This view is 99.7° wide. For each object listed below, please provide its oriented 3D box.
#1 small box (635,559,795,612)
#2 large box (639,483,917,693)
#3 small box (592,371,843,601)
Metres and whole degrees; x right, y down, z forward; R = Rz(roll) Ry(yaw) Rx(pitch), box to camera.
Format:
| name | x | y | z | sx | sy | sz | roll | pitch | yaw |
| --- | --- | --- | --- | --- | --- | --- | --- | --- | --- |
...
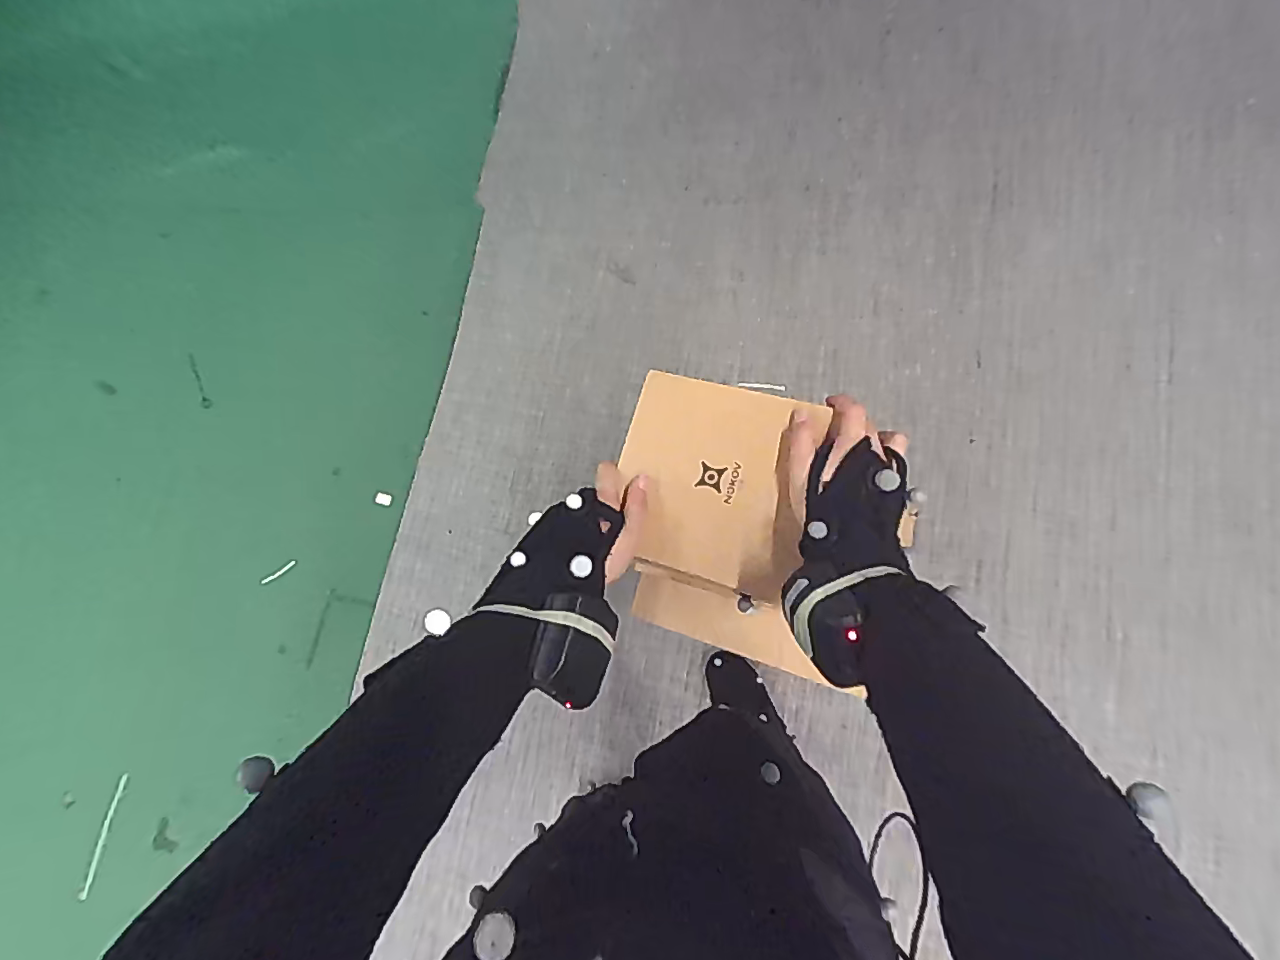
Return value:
| name | x | y | z | sx | sy | sz | roll | pitch | yaw |
| --- | --- | --- | --- | --- | --- | --- | --- | --- | --- |
| small box | 0.115 | 0.061 | 0.677 | 0.179 | 0.176 | 0.168 | 11 | 79 | 18 |
| large box | 0.254 | 0.170 | 1.043 | 0.408 | 0.320 | 0.320 | 14 | 83 | 16 |
| small box | 0.080 | 0.016 | 0.526 | 0.179 | 0.176 | 0.168 | 15 | 80 | 16 |
